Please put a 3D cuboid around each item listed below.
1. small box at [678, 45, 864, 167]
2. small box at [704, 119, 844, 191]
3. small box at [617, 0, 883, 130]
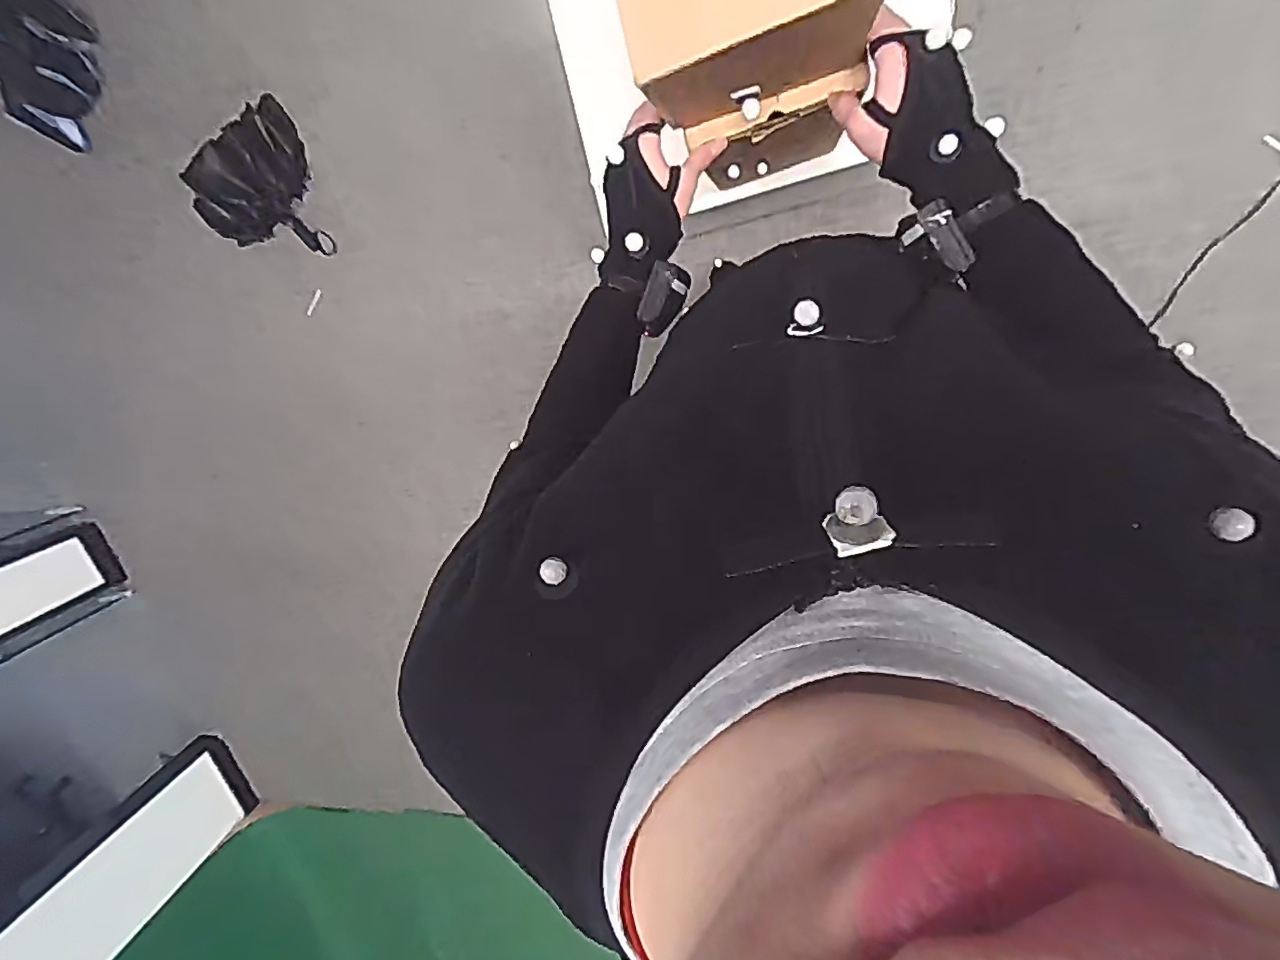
[{"bbox_3d":[0.115,-0.433,0.537,0.168,0.176,0.179,-11,108,17],"label":"small box"},{"bbox_3d":[0.151,-0.494,0.687,0.168,0.176,0.179,-12,108,18],"label":"small box"},{"bbox_3d":[0.068,-0.389,0.387,0.168,0.176,0.179,-11,109,18],"label":"small box"}]
